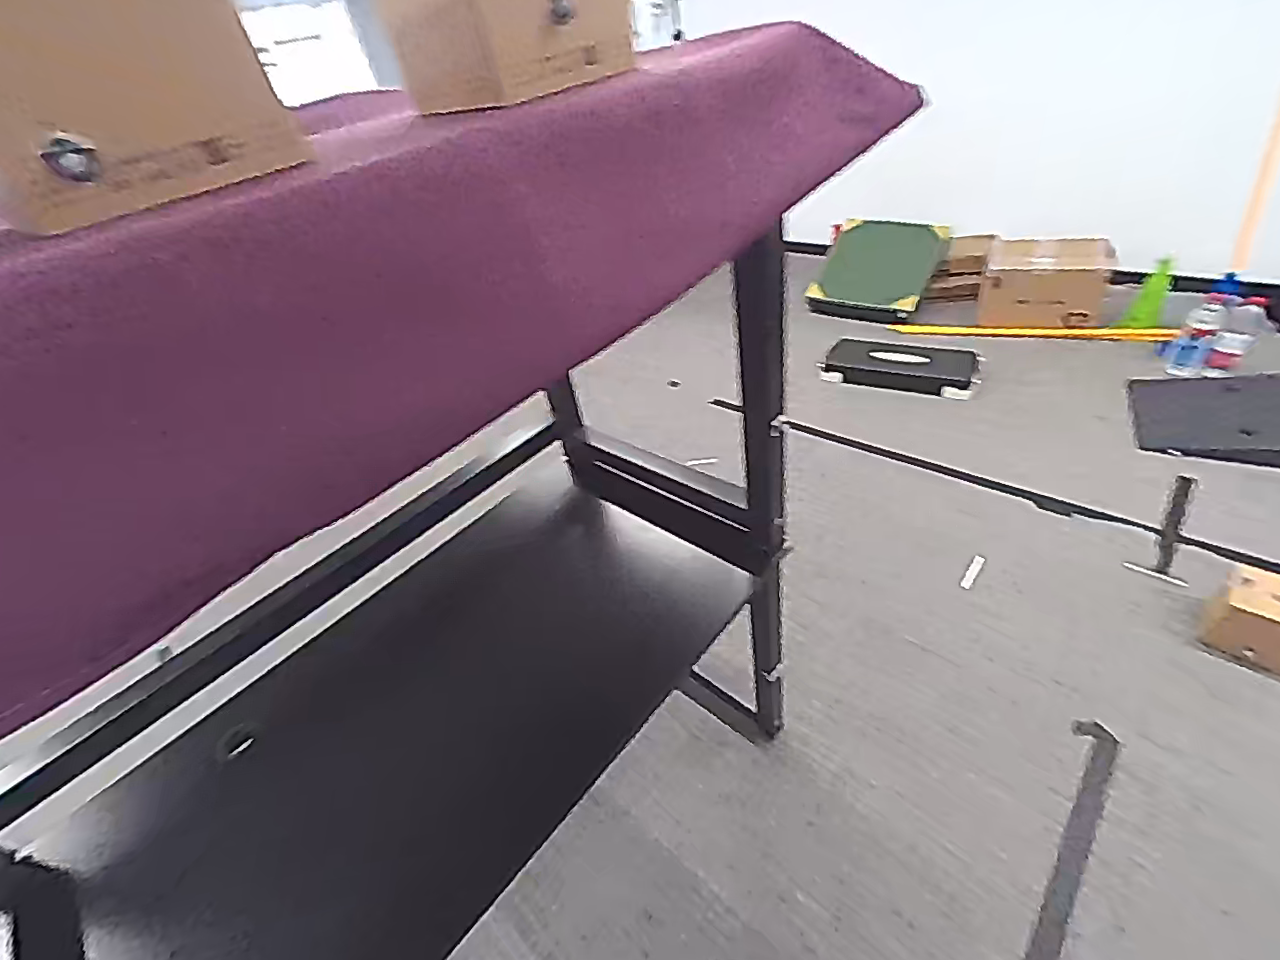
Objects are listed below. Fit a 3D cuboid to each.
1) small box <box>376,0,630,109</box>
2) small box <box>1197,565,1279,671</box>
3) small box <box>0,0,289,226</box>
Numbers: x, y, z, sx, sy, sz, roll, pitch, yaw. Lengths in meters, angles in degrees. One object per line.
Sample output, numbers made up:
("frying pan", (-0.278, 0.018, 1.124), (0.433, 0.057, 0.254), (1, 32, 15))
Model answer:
("small box", (-0.134, -0.451, 0.486), (0.168, 0.176, 0.179), (-38, 45, -27))
("small box", (1.595, 0.358, 1.381), (0.179, 0.176, 0.168), (27, 54, 36))
("small box", (-0.366, -0.269, 0.334), (0.179, 0.176, 0.168), (20, 49, 34))
